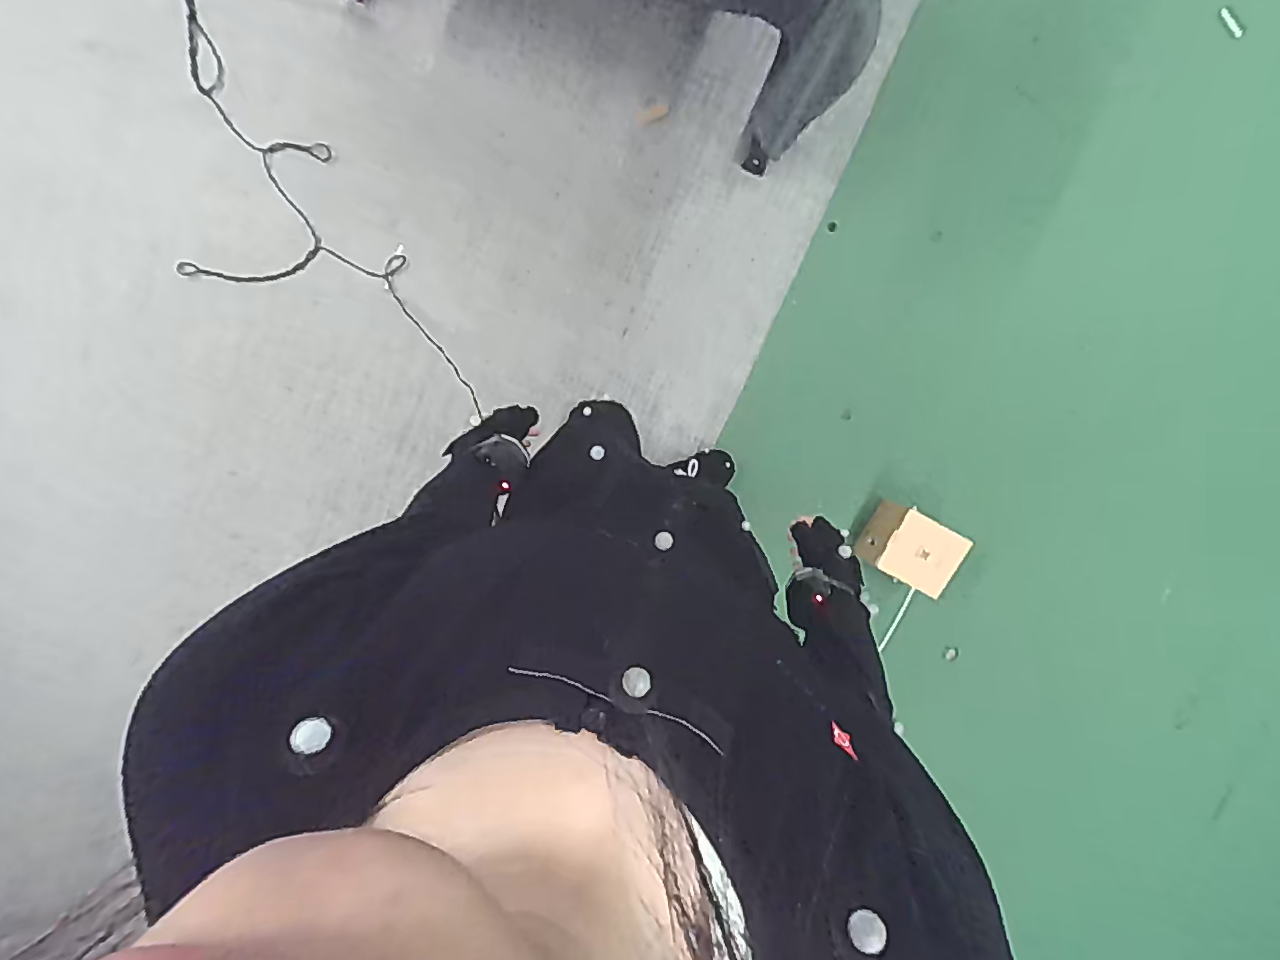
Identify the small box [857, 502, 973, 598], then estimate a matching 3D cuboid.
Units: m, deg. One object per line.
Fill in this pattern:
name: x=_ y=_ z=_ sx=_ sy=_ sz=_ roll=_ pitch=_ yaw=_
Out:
small box: x=0.690 y=0.169 z=1.384 sx=0.179 sy=0.176 sz=0.168 roll=29 pitch=98 yaw=0
